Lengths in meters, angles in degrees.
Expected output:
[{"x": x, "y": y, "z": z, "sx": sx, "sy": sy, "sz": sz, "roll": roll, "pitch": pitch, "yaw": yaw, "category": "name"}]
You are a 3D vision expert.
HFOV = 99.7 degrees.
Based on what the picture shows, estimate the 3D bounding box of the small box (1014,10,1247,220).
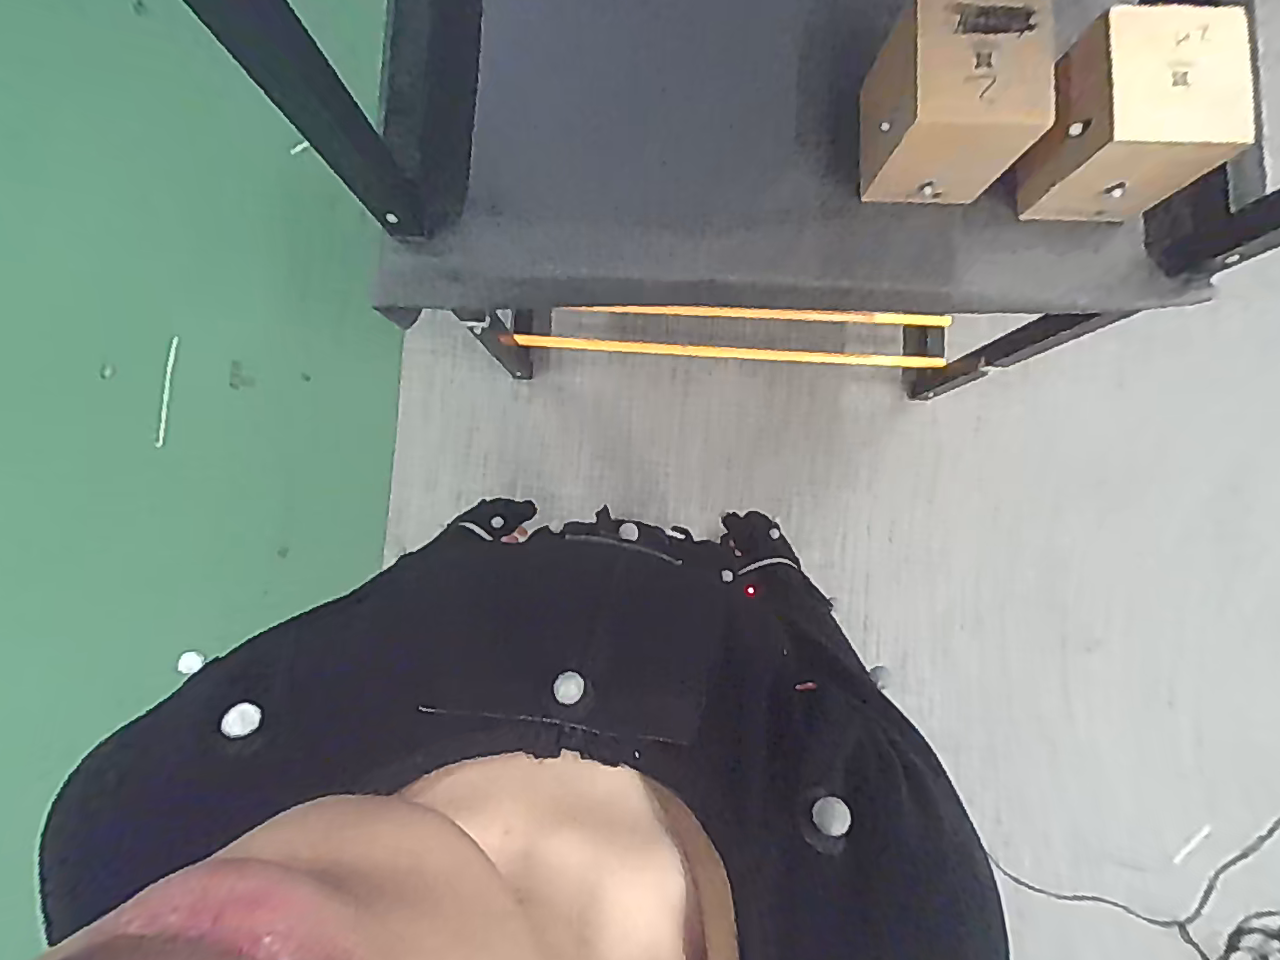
[{"x": 0.639, "y": -0.475, "z": 0.727, "sx": 0.168, "sy": 0.176, "sz": 0.179, "roll": 1, "pitch": 85, "yaw": 0, "category": "small box"}]
